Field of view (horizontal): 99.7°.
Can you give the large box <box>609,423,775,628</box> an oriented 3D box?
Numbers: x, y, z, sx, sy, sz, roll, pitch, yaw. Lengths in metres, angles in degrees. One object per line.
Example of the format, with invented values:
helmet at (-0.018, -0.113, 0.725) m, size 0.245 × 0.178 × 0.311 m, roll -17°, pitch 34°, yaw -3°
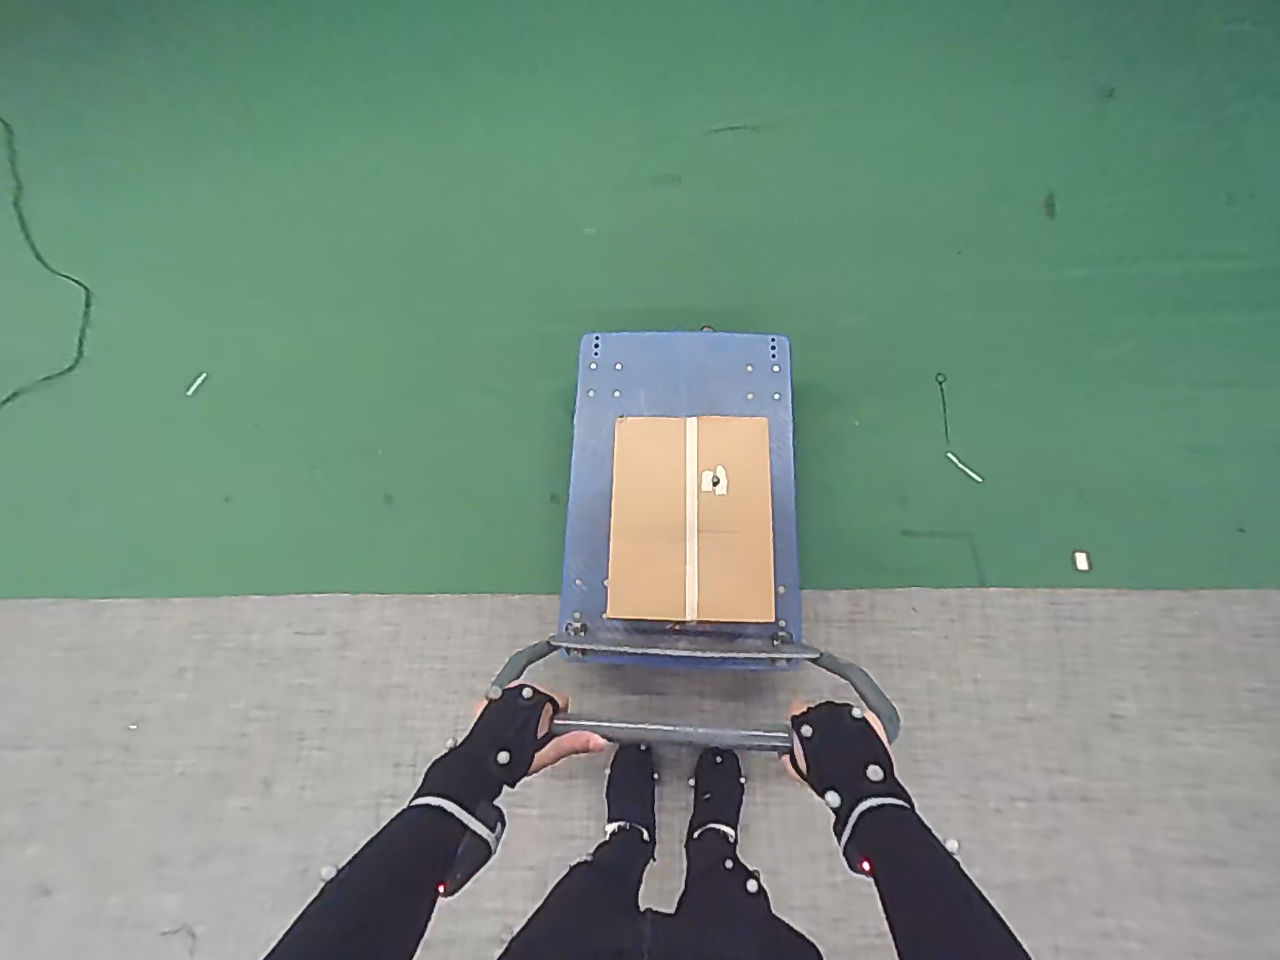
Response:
large box at (0.109, 0.117, 1.196) m, size 0.320 × 0.320 × 0.408 m, roll 1°, pitch 74°, yaw 3°
